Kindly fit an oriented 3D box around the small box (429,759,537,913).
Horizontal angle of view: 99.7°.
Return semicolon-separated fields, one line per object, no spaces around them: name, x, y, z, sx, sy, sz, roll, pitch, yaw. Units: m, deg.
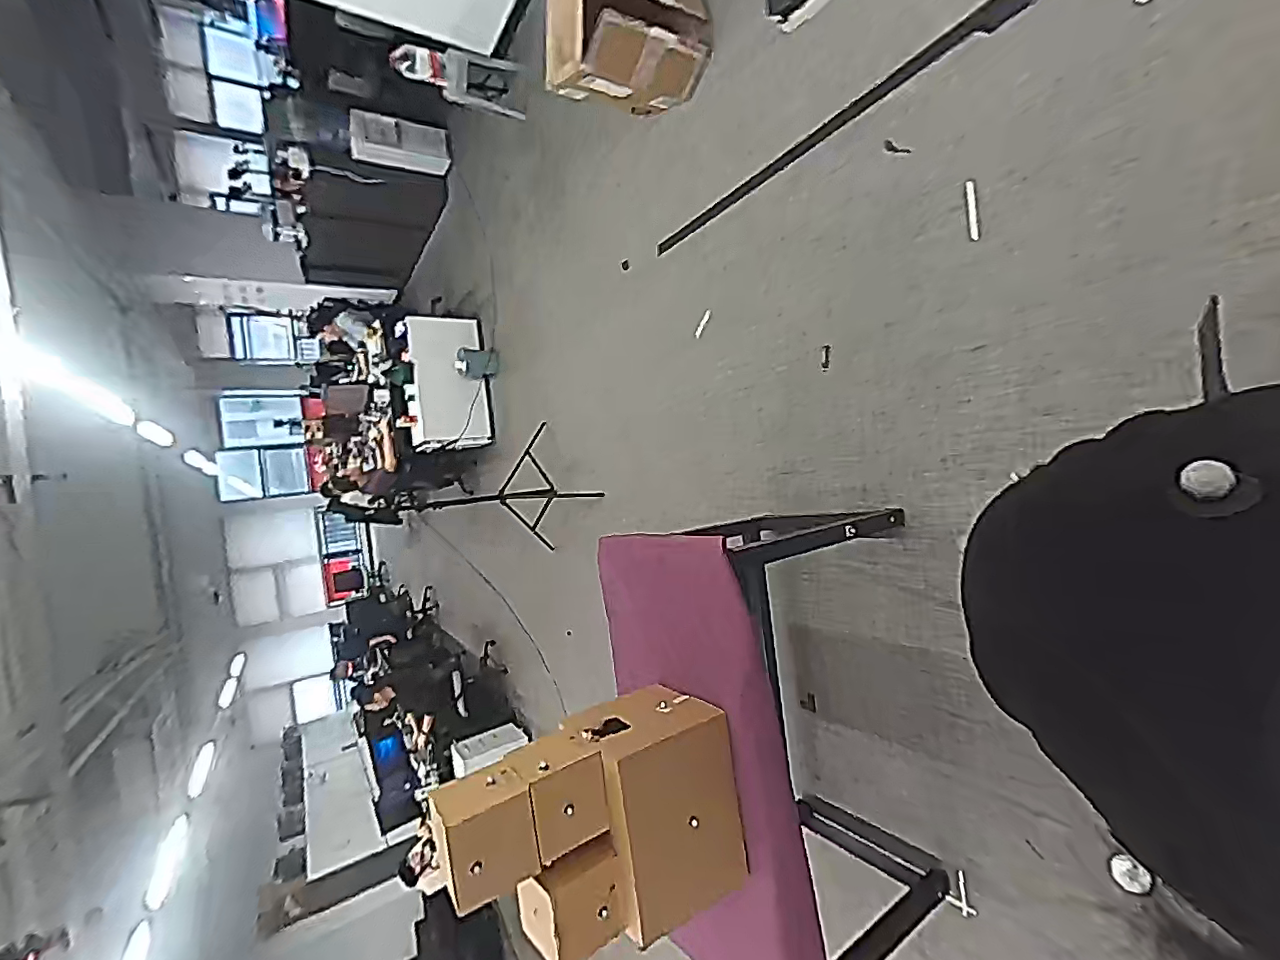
small box;-0.321;0.717;1.113;0.168;0.176;0.179;-6;92;58
